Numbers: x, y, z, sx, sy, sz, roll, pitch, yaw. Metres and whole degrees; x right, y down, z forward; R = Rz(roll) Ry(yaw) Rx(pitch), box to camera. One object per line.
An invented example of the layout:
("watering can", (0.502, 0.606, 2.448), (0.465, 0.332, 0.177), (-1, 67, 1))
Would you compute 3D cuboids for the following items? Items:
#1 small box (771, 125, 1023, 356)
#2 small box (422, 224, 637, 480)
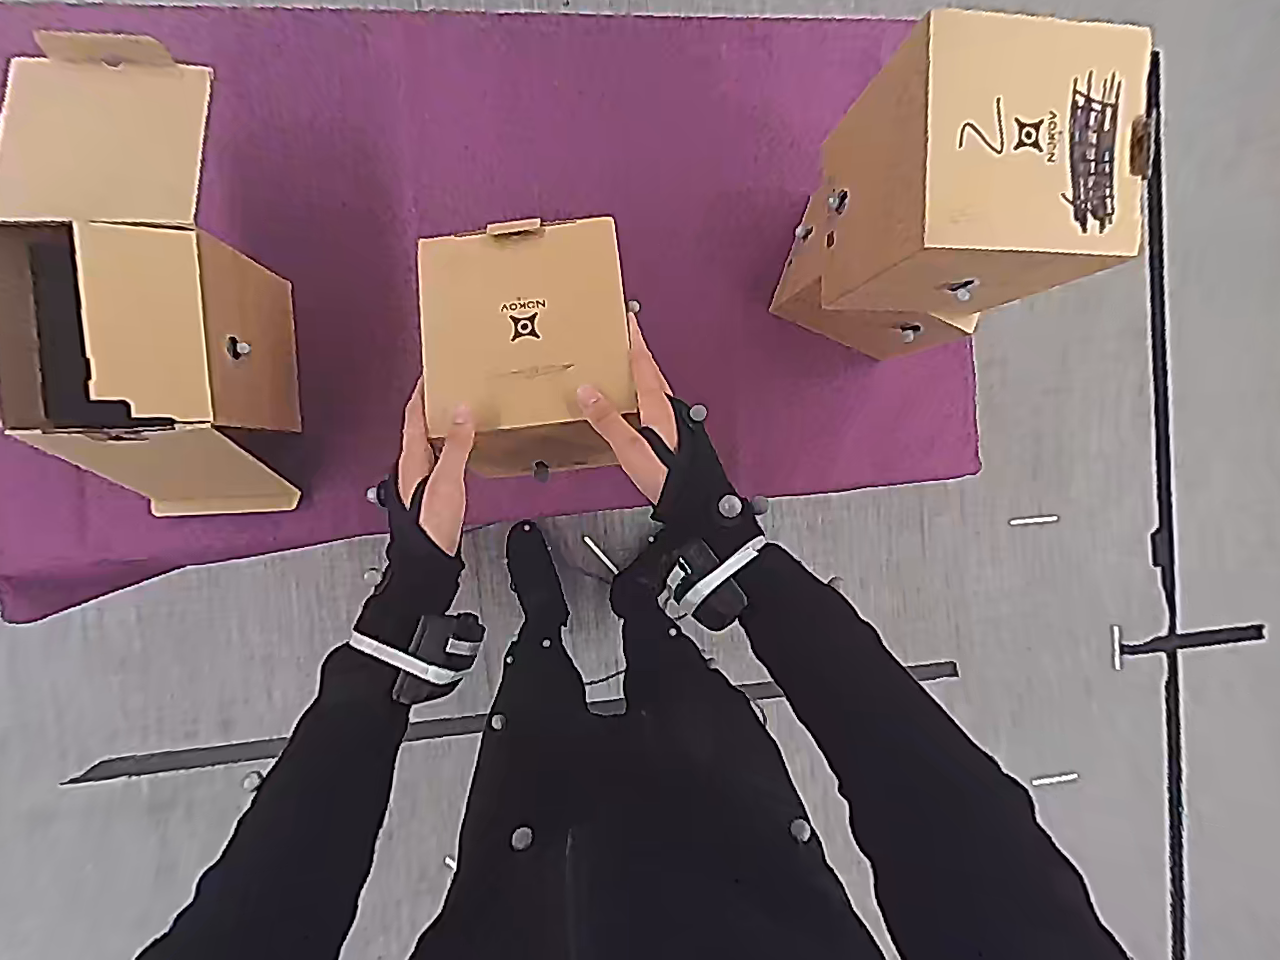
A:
("small box", (0.285, -0.258, 0.636), (0.179, 0.176, 0.168), (21, 90, -8))
("small box", (-0.093, -0.107, 0.514), (0.168, 0.176, 0.179), (-6, 79, 0))
